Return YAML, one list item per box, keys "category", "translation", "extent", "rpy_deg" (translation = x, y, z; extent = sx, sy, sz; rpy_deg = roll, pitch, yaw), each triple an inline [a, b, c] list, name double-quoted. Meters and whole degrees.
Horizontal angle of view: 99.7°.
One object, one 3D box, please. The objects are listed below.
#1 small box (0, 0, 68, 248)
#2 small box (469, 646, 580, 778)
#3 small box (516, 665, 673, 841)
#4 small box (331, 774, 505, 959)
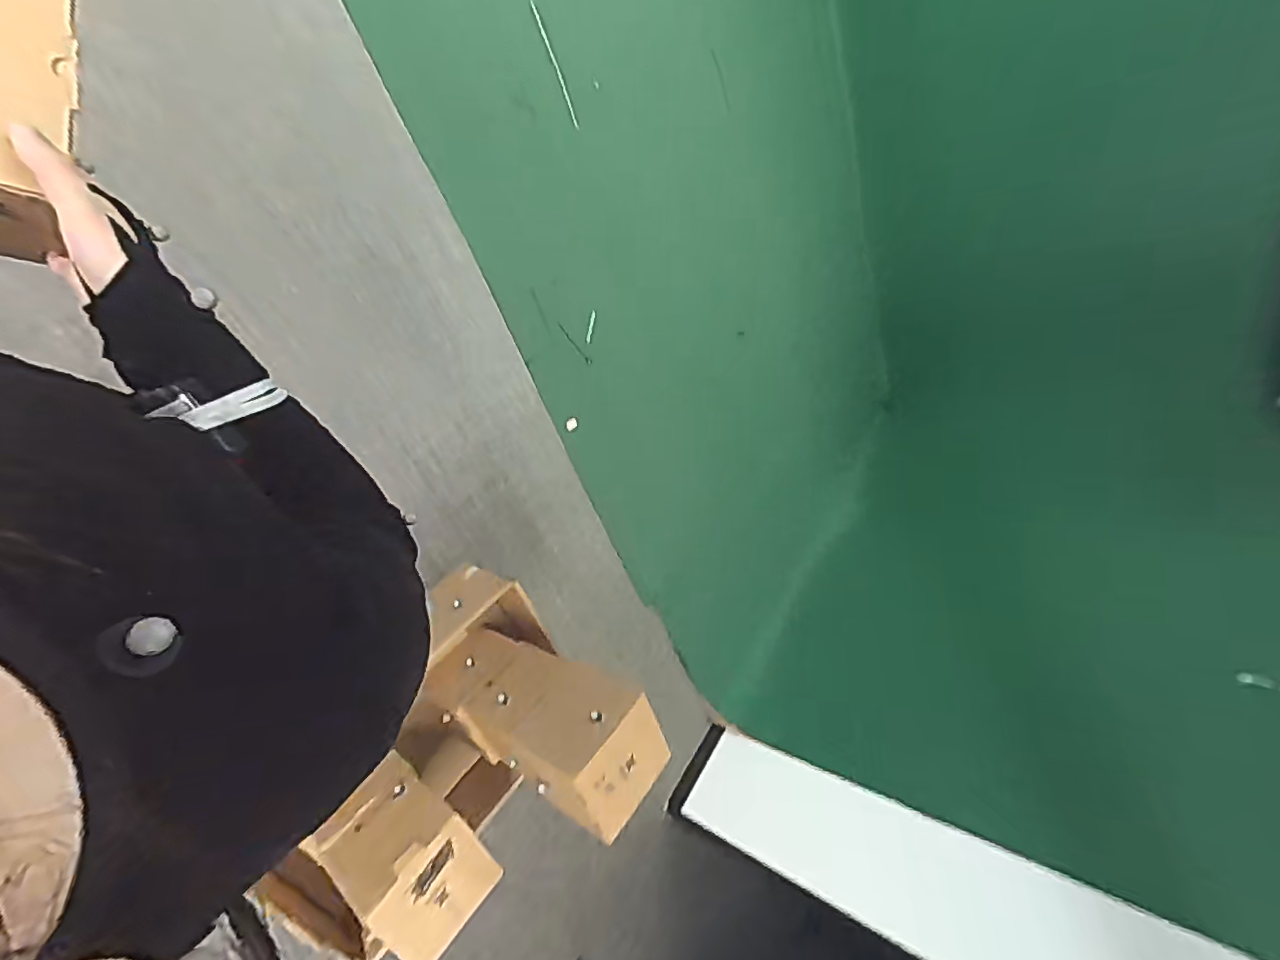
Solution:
- category: "small box"
  translation: [-0.477, -0.263, 0.328]
  extent: [0.179, 0.176, 0.168]
  rpy_deg: [0, 91, -47]
- category: "small box"
  translation: [-0.194, 0.442, 1.034]
  extent: [0.168, 0.176, 0.179]
  rpy_deg: [-42, 124, -35]
- category: "small box"
  translation: [-0.076, 0.448, 0.919]
  extent: [0.179, 0.176, 0.168]
  rpy_deg: [-39, 121, -36]
- category: "small box"
  translation: [-0.360, 0.614, 0.876]
  extent: [0.168, 0.176, 0.179]
  rpy_deg: [-40, 123, -36]
